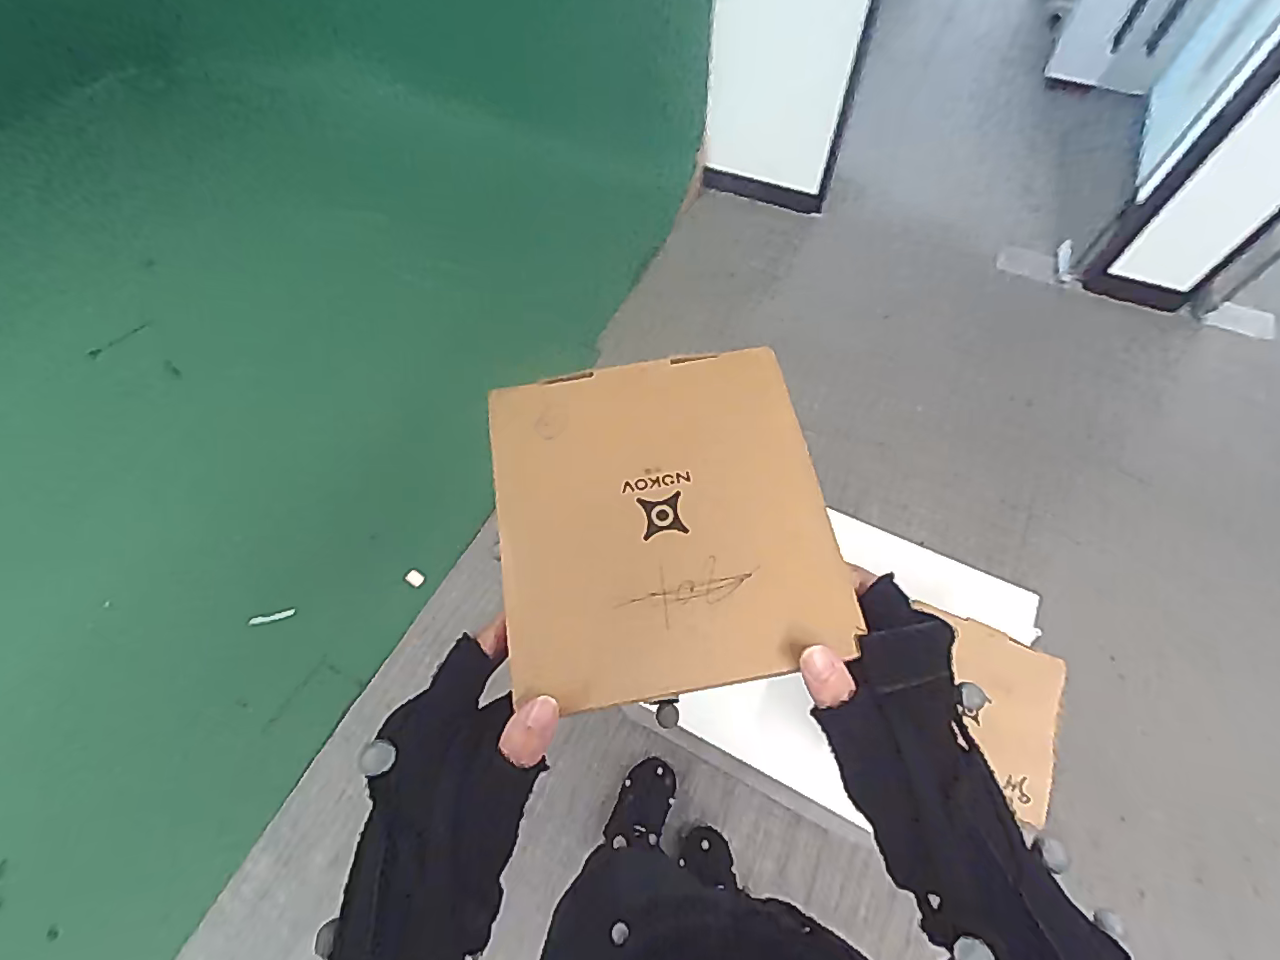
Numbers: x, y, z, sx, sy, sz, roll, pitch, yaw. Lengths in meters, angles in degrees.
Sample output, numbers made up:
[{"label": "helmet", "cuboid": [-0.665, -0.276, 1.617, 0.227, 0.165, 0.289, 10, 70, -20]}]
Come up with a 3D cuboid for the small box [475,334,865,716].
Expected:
[{"label": "small box", "cuboid": [0.005, 0.040, 0.337, 0.168, 0.176, 0.179, -10, 68, -4]}]

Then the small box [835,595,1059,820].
[{"label": "small box", "cuboid": [0.354, 0.271, 0.648, 0.168, 0.176, 0.179, 23, 65, 15]}]
